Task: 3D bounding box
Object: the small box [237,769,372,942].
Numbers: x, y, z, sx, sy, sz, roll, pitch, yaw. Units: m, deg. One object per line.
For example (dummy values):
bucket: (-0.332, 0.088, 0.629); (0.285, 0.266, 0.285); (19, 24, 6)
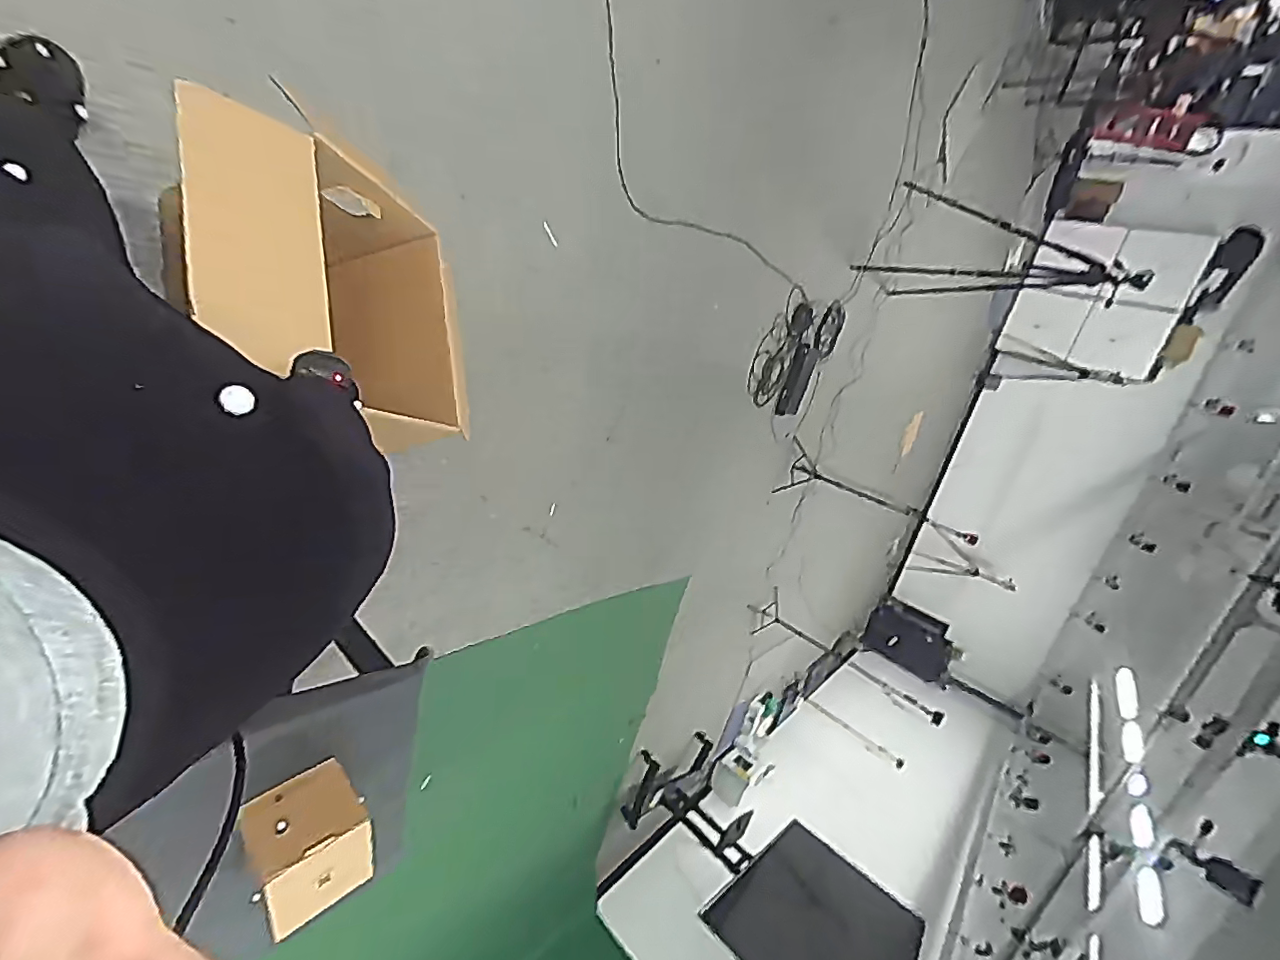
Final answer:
small box: (-0.617, 0.675, 0.999); (0.168, 0.176, 0.179); (-16, 127, -44)
